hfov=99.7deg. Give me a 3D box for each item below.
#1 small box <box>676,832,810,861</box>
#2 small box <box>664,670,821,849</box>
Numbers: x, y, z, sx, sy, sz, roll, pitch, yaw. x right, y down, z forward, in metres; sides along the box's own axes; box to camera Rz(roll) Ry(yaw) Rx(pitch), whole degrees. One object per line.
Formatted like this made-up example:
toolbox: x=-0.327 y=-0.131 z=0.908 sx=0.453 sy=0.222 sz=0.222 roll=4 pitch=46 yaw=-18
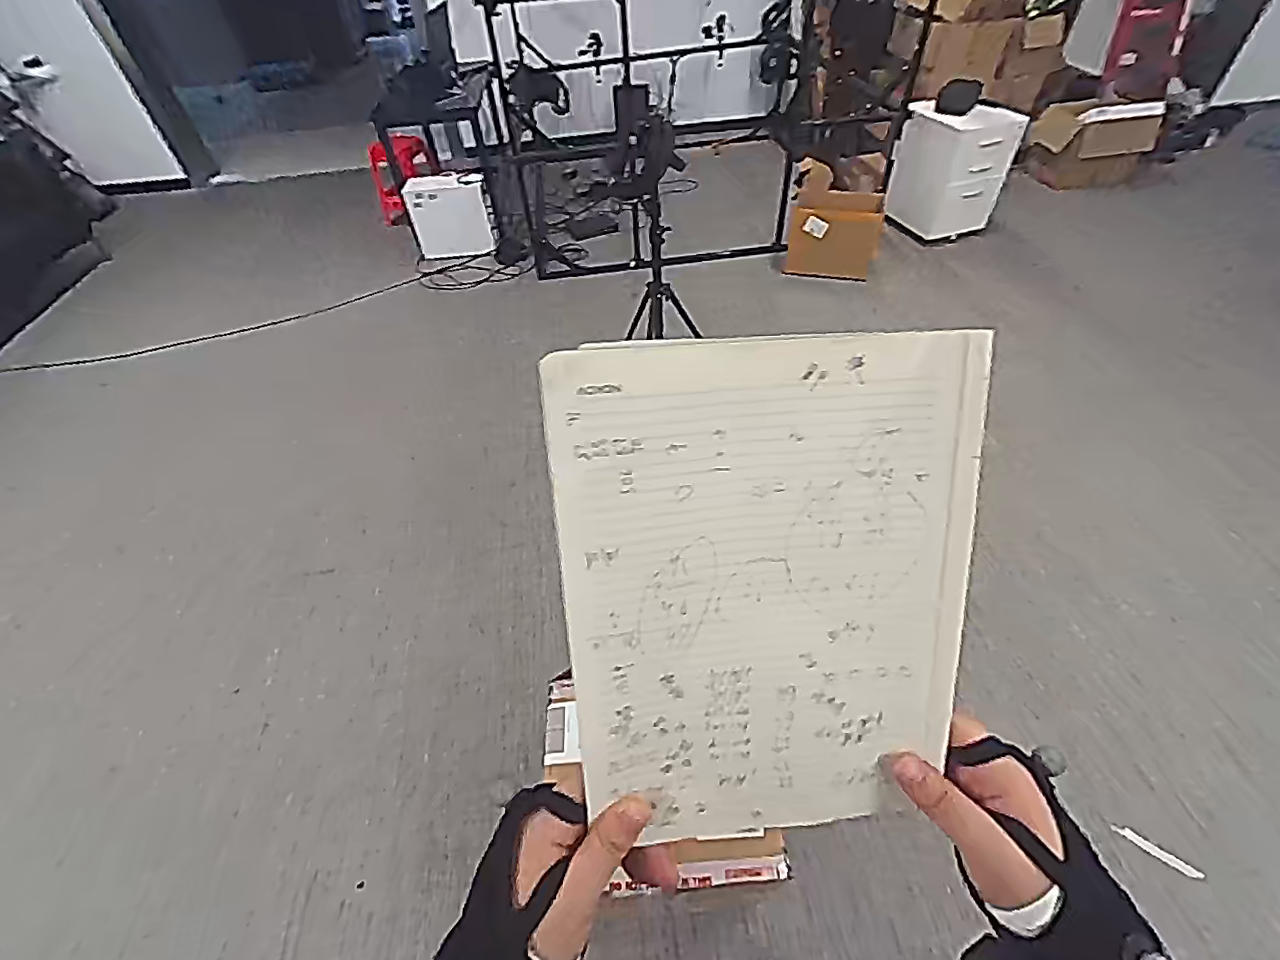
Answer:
small box: x=0.140 y=0.475 z=0.837 sx=0.179 sy=0.176 sz=0.168 roll=-4 pitch=48 yaw=-2
small box: x=0.119 y=0.369 z=0.712 sx=0.168 sy=0.176 sz=0.179 roll=-1 pitch=49 yaw=0
